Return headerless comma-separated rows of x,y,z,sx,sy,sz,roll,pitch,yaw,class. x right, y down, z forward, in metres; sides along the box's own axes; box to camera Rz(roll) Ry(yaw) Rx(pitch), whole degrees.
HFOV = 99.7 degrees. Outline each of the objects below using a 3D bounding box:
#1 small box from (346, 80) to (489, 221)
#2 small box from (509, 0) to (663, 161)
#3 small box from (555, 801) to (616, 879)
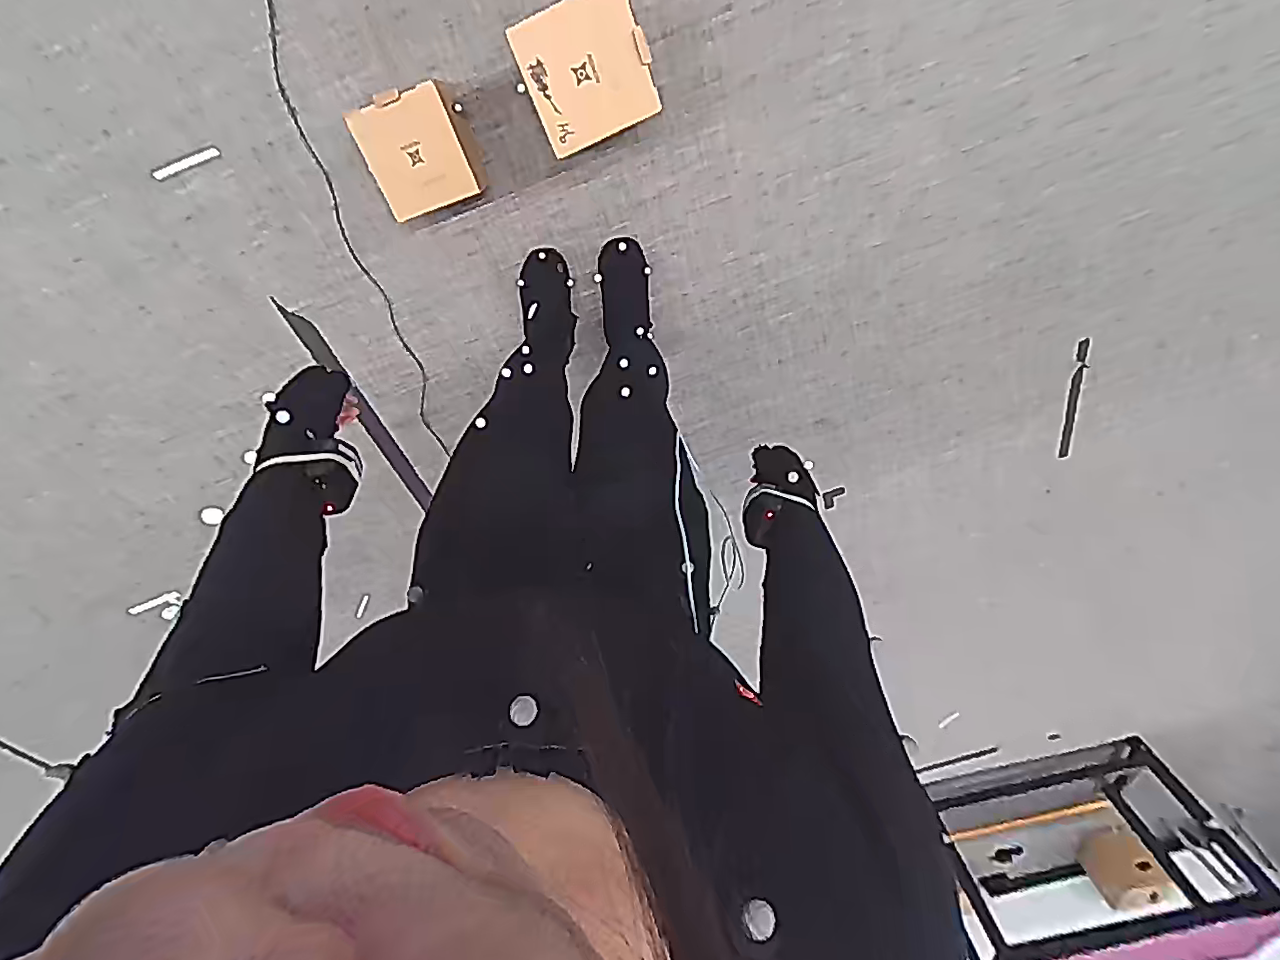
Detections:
-0.397,-0.607,0.999,0.168,0.176,0.179,-17,125,5,small box
-0.083,-0.619,0.831,0.179,0.176,0.168,-21,124,6,small box
-0.189,1.244,1.875,0.179,0.176,0.168,-13,126,3,small box
